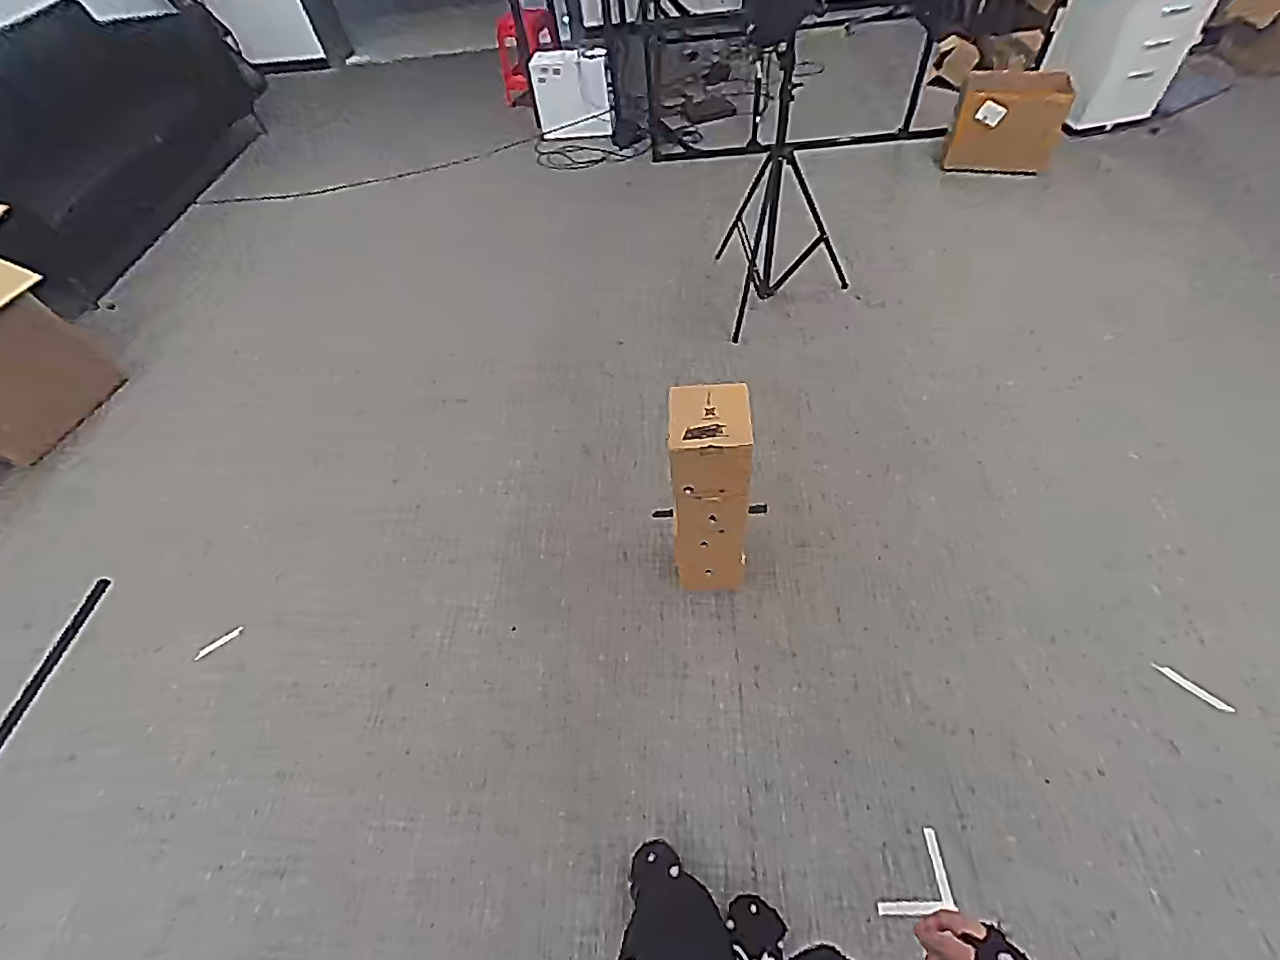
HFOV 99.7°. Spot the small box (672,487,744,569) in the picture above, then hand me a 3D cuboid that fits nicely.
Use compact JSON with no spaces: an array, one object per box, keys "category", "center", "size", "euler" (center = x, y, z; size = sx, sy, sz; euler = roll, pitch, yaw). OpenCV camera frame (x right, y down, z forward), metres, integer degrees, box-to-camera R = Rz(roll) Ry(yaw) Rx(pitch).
[{"category":"small box","center":[0.179,0.123,1.413],"size":[0.179,0.176,0.168],"euler":[0,55,7]}]

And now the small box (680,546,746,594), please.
[{"category":"small box","center":[0.203,0.217,1.546],"size":[0.179,0.176,0.168],"euler":[-2,54,6]}]

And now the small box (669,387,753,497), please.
[{"category":"small box","center":[0.152,-0.074,1.152],"size":[0.168,0.176,0.179],"euler":[-2,53,7]}]

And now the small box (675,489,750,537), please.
[{"category":"small box","center":[0.172,0.025,1.283],"size":[0.168,0.176,0.179],"euler":[-1,55,7]}]
